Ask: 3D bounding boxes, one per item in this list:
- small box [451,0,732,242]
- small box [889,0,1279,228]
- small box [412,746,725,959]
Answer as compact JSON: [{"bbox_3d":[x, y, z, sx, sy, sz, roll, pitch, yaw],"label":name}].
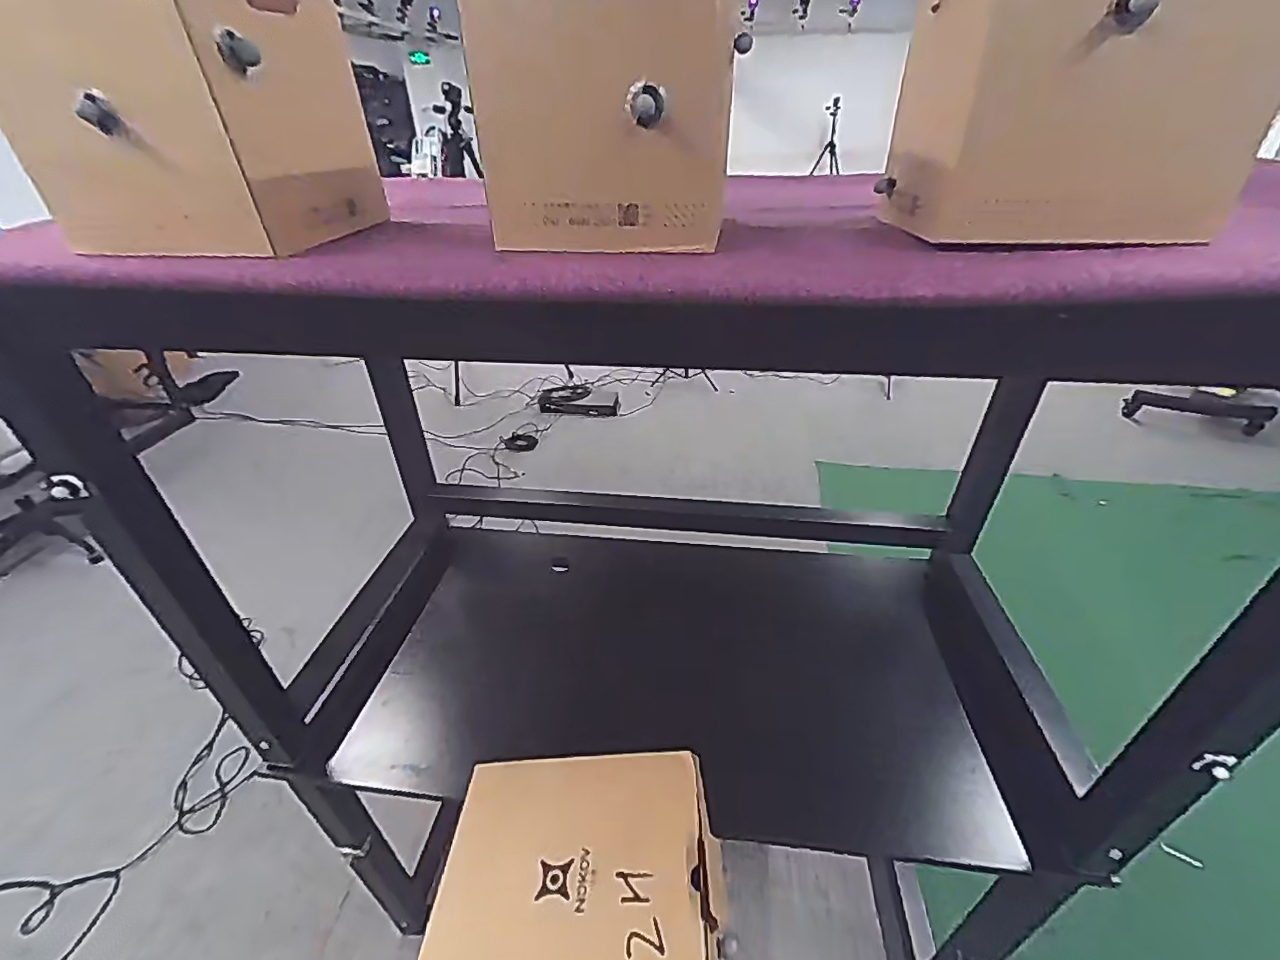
[{"bbox_3d":[-0.019,-0.285,0.411,0.168,0.176,0.179,5,34,7],"label":"small box"},{"bbox_3d":[0.292,-0.277,0.382,0.179,0.176,0.168,3,32,6],"label":"small box"},{"bbox_3d":[-0.034,0.316,0.379,0.179,0.176,0.168,-7,32,6],"label":"small box"}]
